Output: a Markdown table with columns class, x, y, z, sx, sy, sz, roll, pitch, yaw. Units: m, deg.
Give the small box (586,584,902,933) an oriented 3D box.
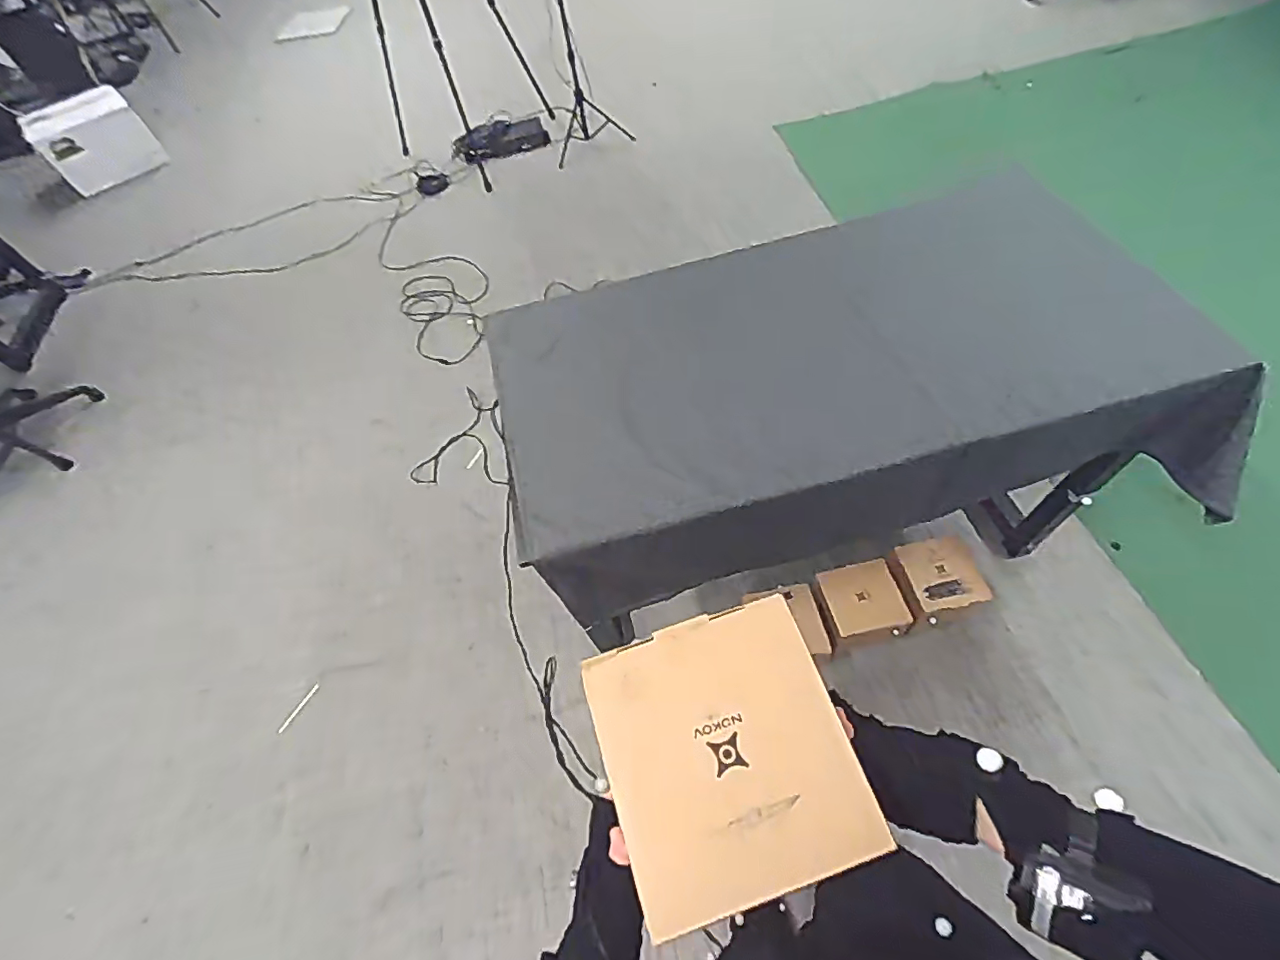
| class | x | y | z | sx | sy | sz | roll | pitch | yaw |
| --- | --- | --- | --- | --- | --- | --- | --- | --- | --- |
| small box | 0.063 | 0.208 | 0.434 | 0.168 | 0.176 | 0.179 | -17 | 65 | -5 |
